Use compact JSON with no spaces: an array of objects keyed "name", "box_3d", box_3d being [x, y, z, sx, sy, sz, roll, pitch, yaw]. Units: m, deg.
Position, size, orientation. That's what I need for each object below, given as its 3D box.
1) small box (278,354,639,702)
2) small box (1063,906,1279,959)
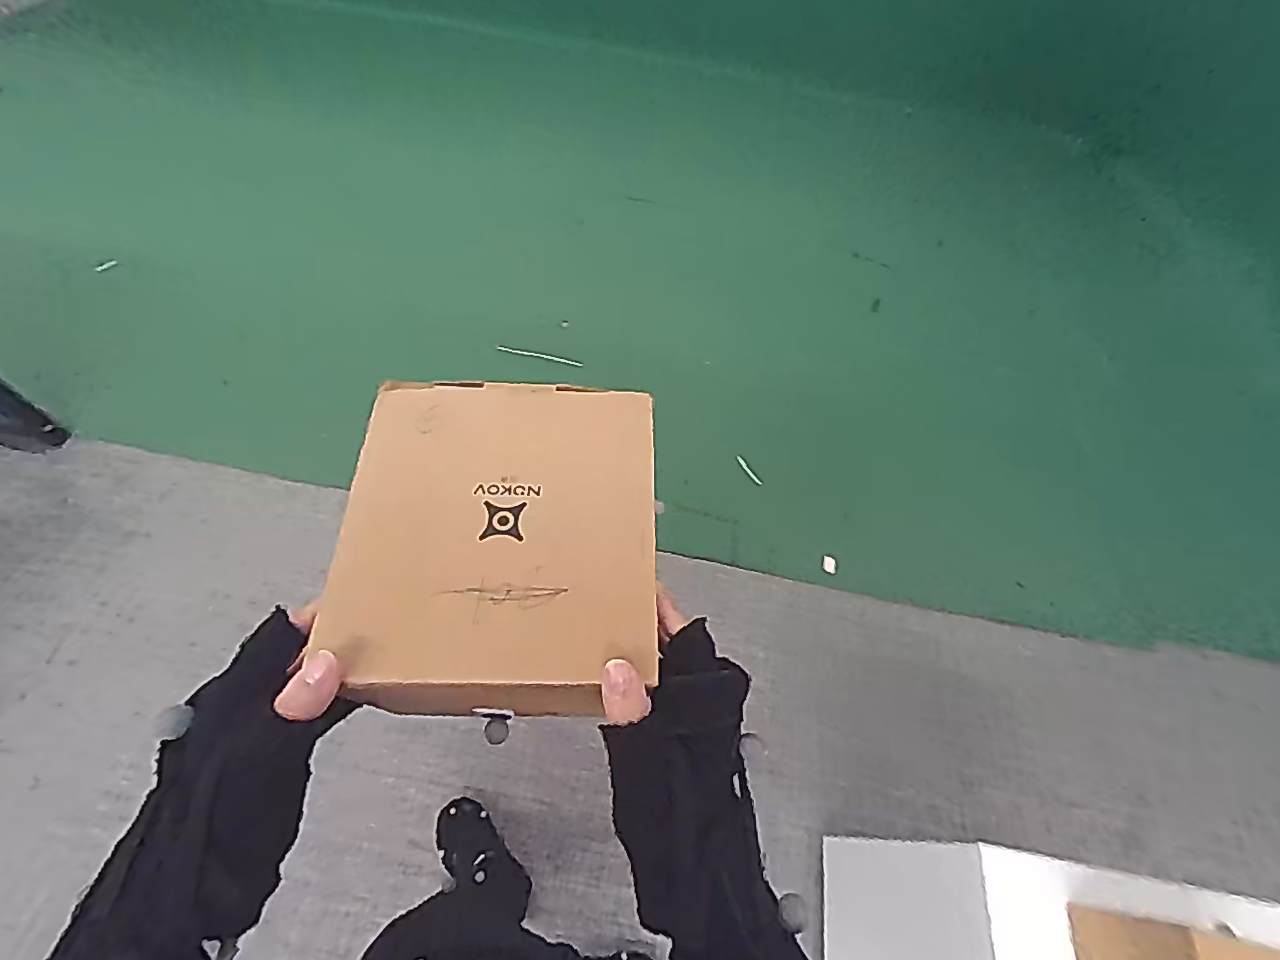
[{"name":"small box","box_3d":[-0.090,0.042,0.357,0.168,0.176,0.179,2,62,-5]},{"name":"small box","box_3d":[0.600,0.569,0.562,0.179,0.176,0.168,14,56,2]}]
